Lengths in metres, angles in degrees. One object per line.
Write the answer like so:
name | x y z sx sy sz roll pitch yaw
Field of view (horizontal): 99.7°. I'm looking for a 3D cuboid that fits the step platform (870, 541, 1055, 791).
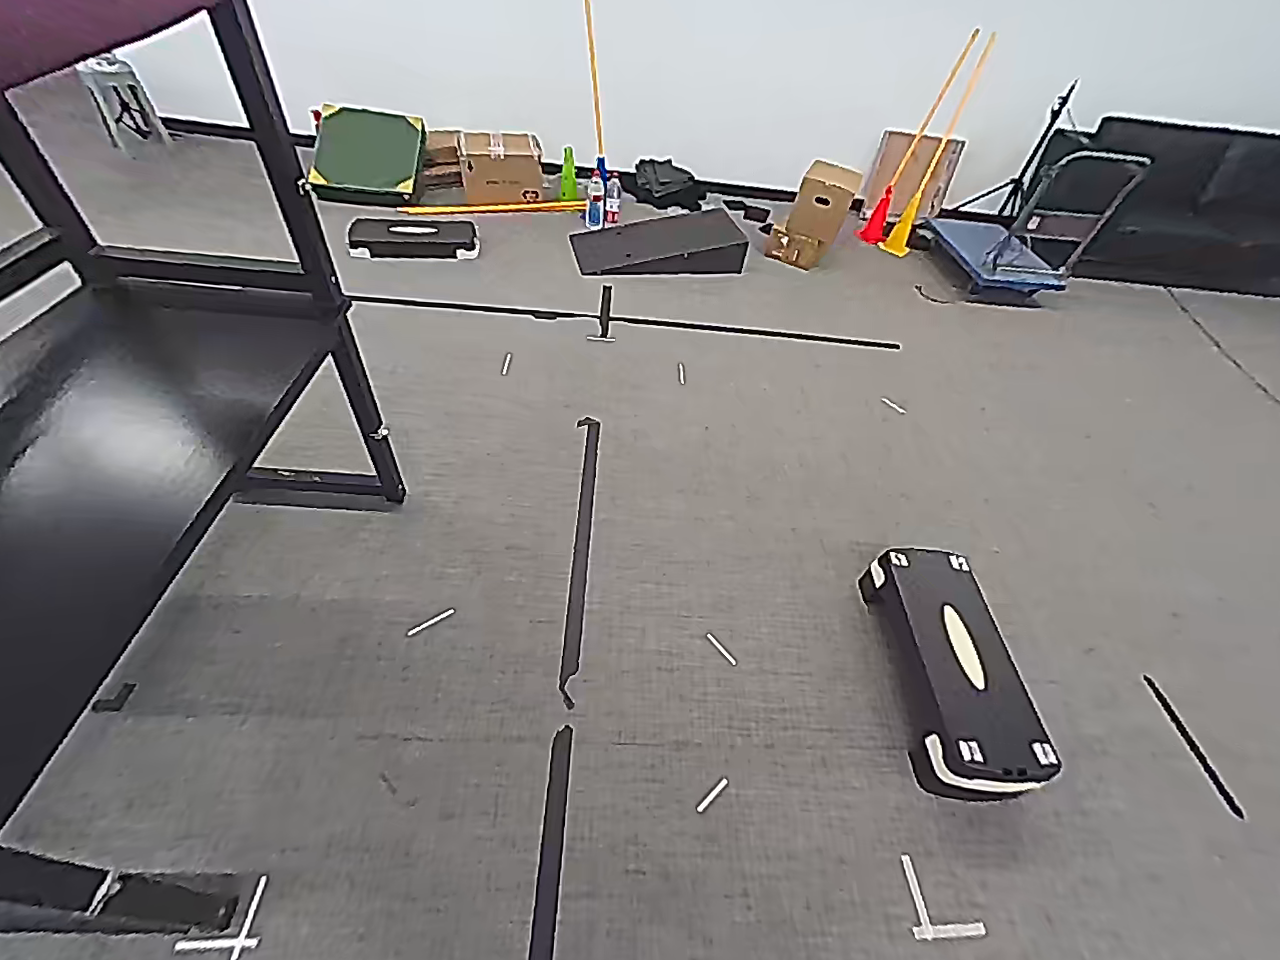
step platform | 0.901 0.500 1.578 0.286 0.204 0.684 8 46 0
